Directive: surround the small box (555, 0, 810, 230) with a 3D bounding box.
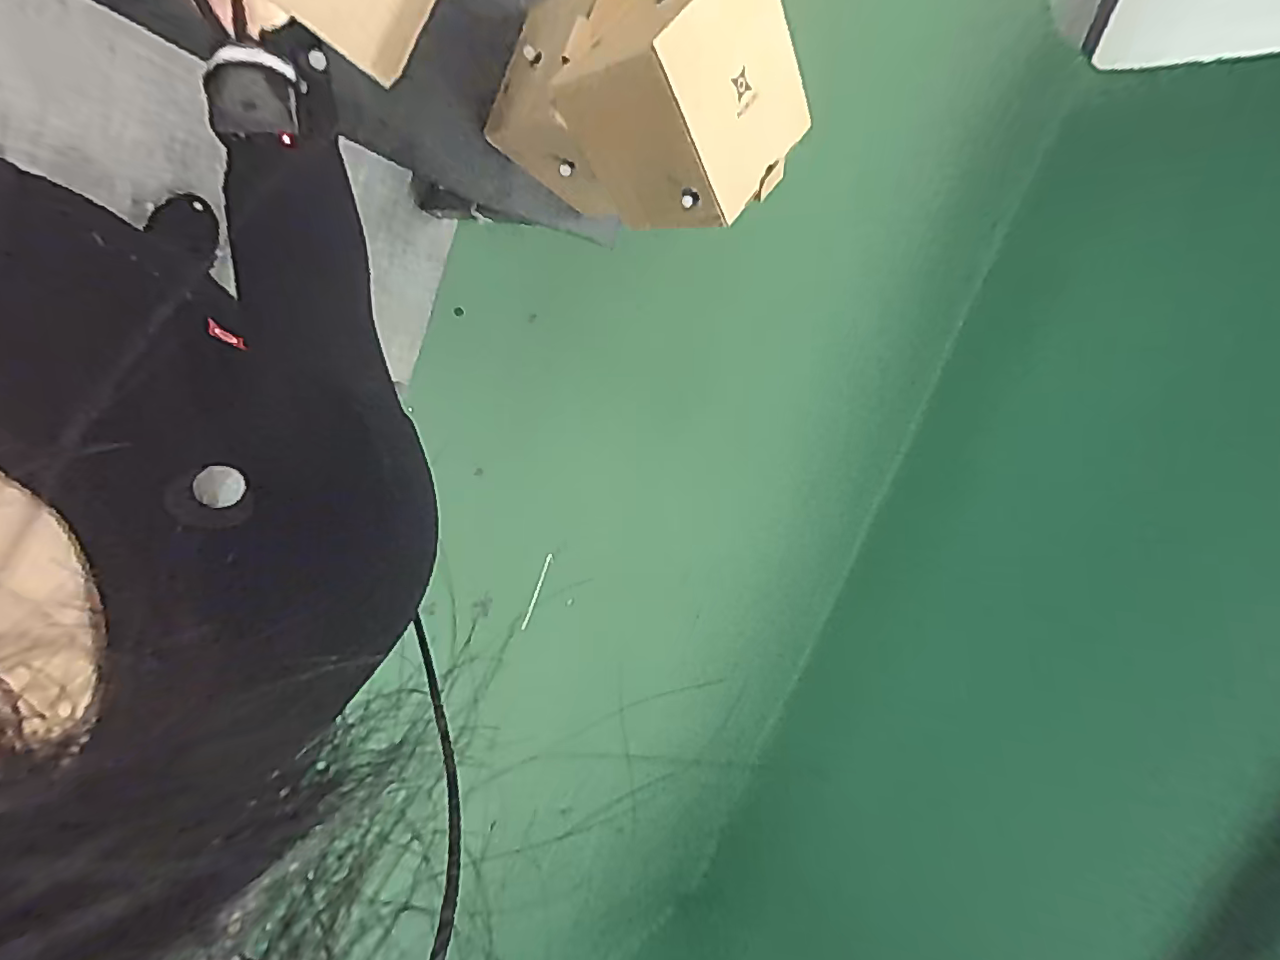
[{"bbox_3d":[0.044,-0.386,0.568,0.168,0.176,0.179,-52,135,-12],"label":"small box"}]

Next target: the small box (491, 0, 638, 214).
[{"bbox_3d":[-0.057,-0.454,0.678,0.179,0.176,0.168,19,95,-44],"label":"small box"}]
